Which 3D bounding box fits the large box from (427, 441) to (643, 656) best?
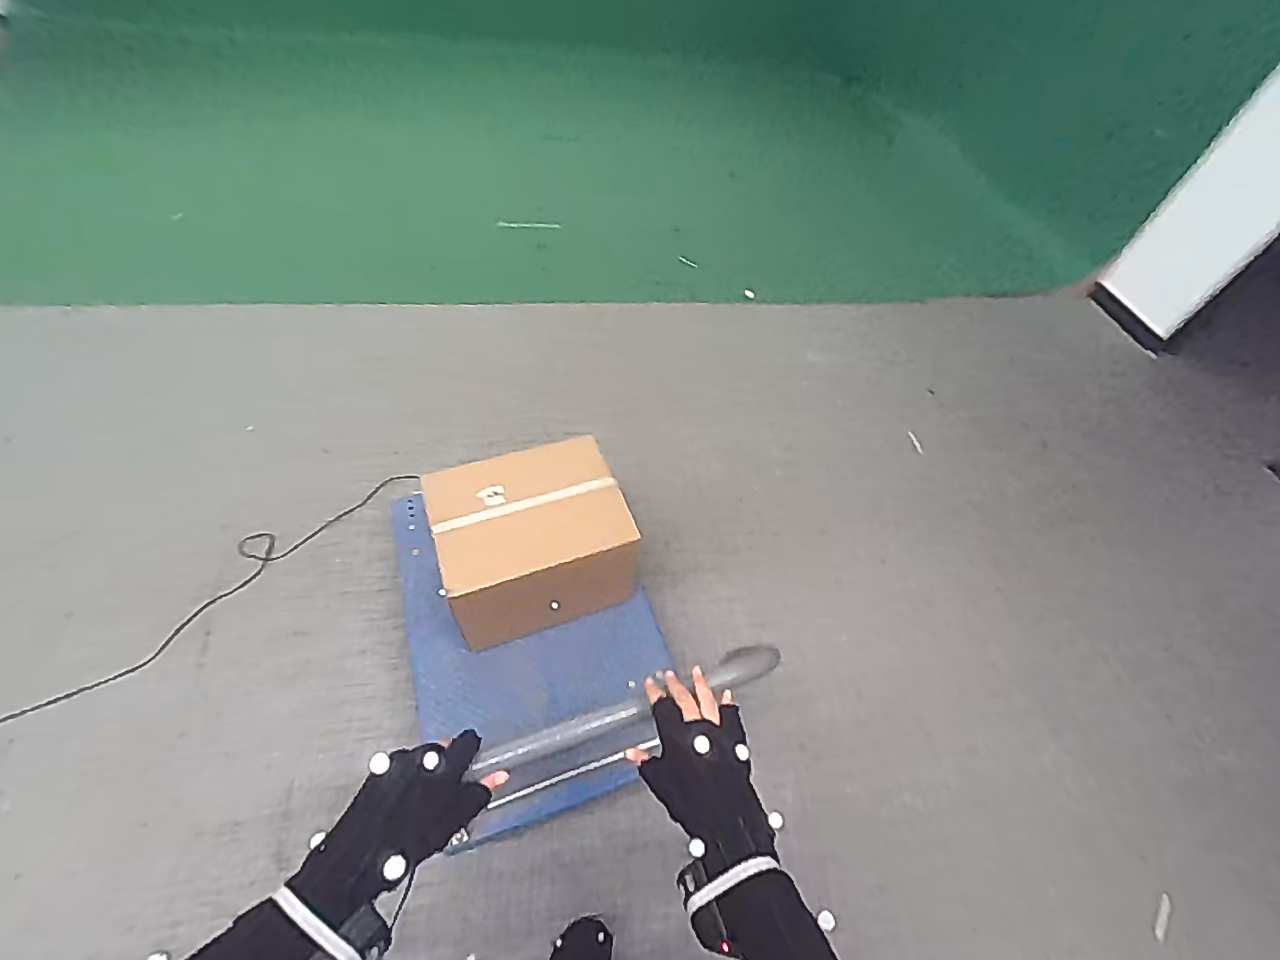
[{"bbox_3d":[-0.242,0.163,1.288,0.408,0.320,0.320,-17,56,-17],"label":"large box"}]
